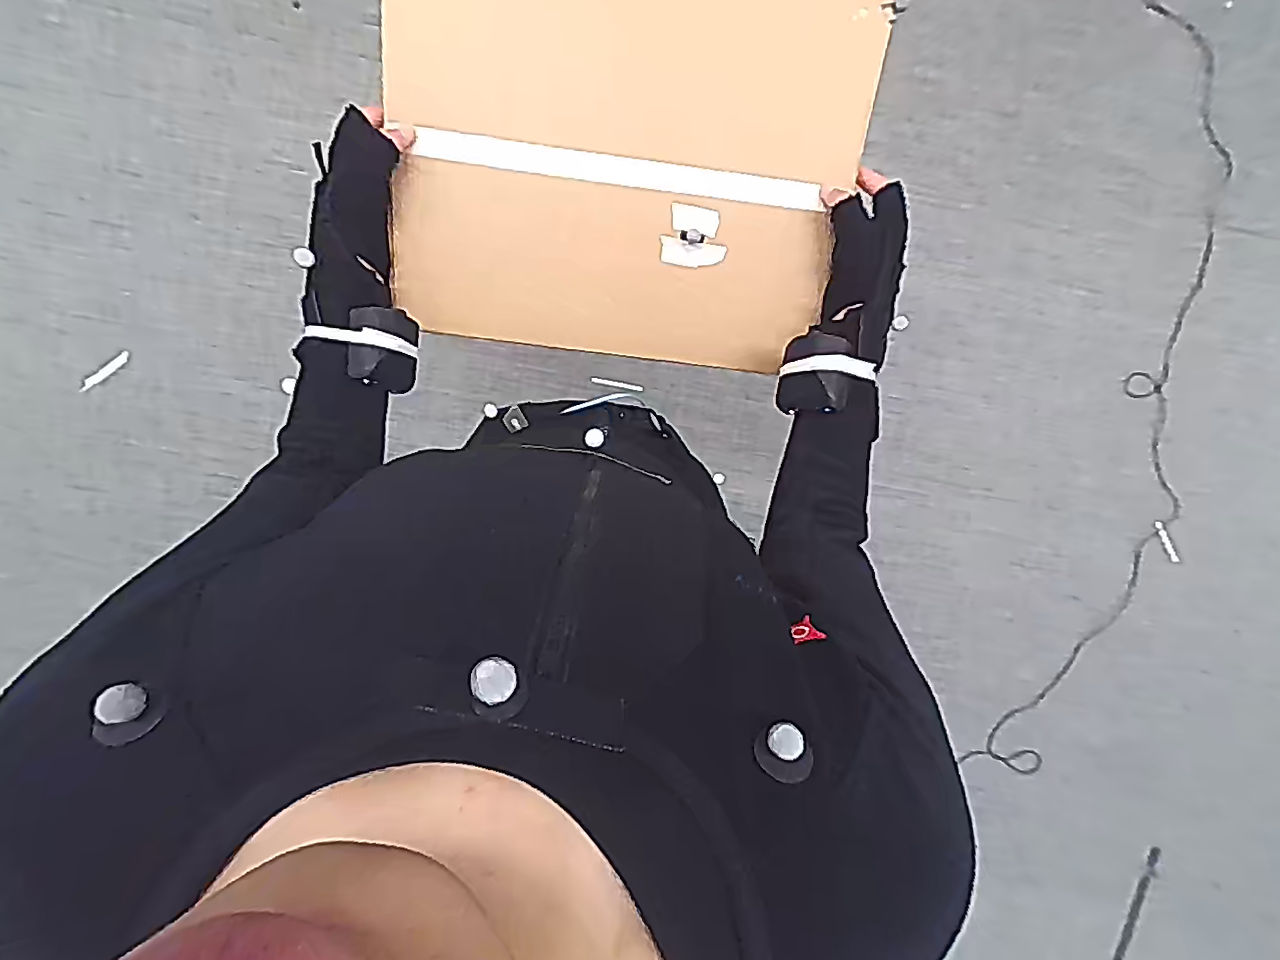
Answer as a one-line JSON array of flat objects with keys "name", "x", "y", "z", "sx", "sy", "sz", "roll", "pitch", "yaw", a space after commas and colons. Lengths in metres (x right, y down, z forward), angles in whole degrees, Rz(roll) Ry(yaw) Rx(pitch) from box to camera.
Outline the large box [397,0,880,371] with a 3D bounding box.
[{"name": "large box", "x": -0.019, "y": -0.319, "z": 0.624, "sx": 0.408, "sy": 0.320, "sz": 0.320, "roll": 5, "pitch": 110, "yaw": -5}]
